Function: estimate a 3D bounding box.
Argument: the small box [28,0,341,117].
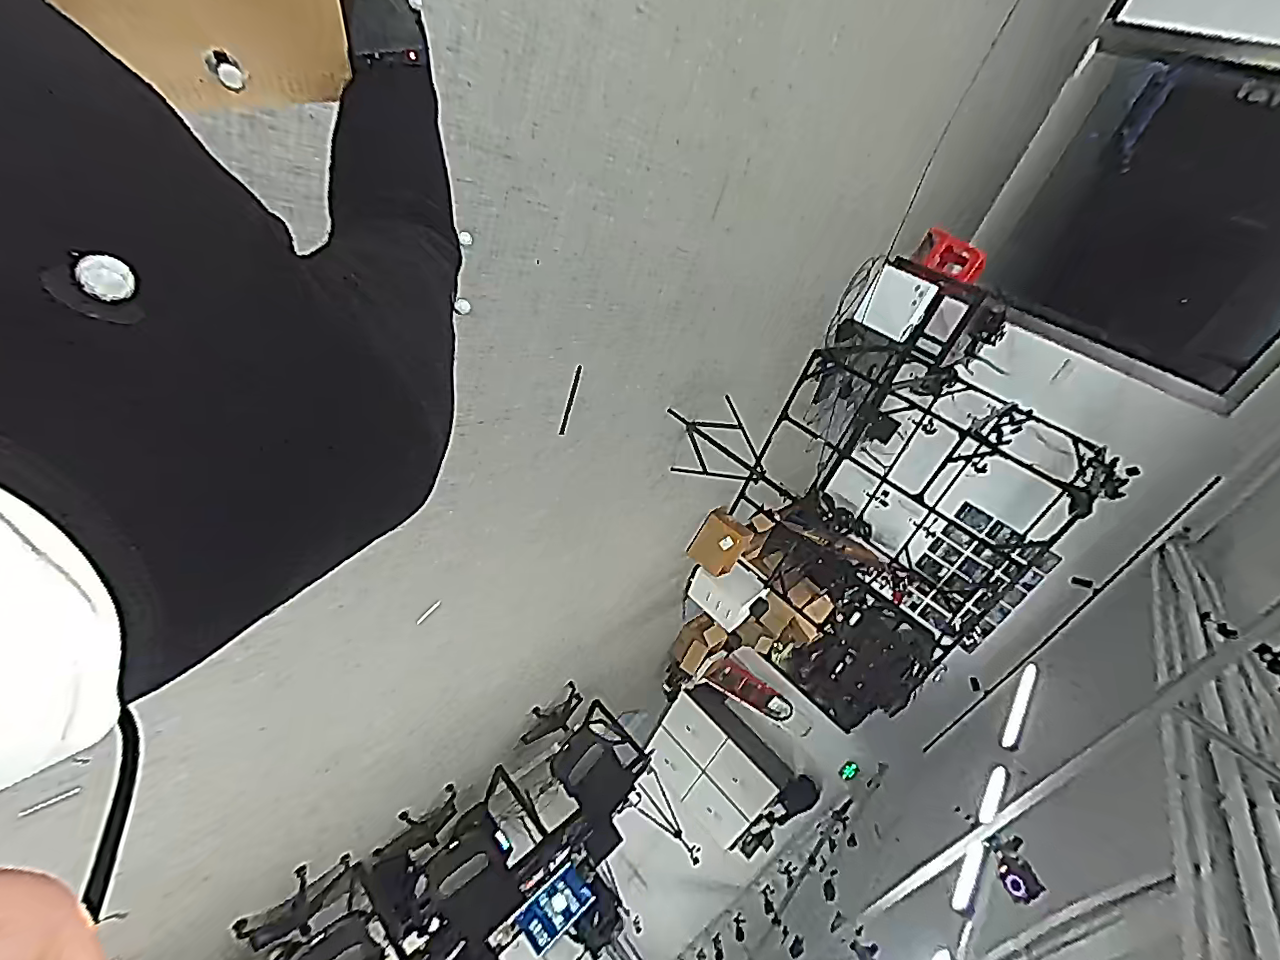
[{"bbox_3d":[-0.326,-0.387,0.370,0.179,0.168,0.176,-21,179,-22],"label":"small box"}]
